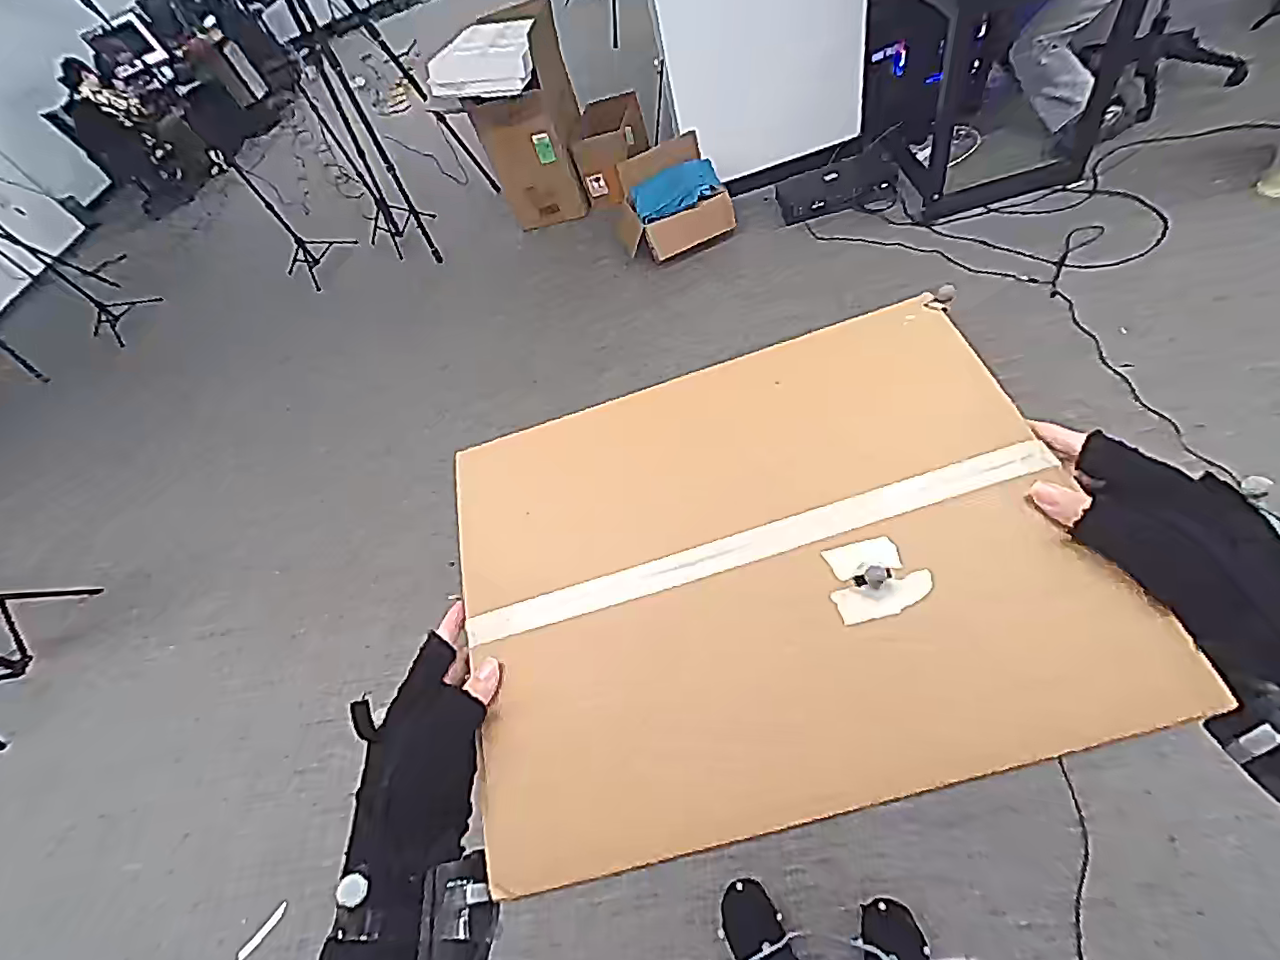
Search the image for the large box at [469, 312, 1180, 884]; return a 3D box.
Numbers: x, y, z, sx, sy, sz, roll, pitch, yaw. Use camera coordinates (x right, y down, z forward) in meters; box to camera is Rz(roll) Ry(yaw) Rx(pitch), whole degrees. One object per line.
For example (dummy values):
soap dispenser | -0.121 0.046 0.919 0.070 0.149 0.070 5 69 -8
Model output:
large box | 0.104 0.118 0.508 0.408 0.320 0.320 -18 61 4
